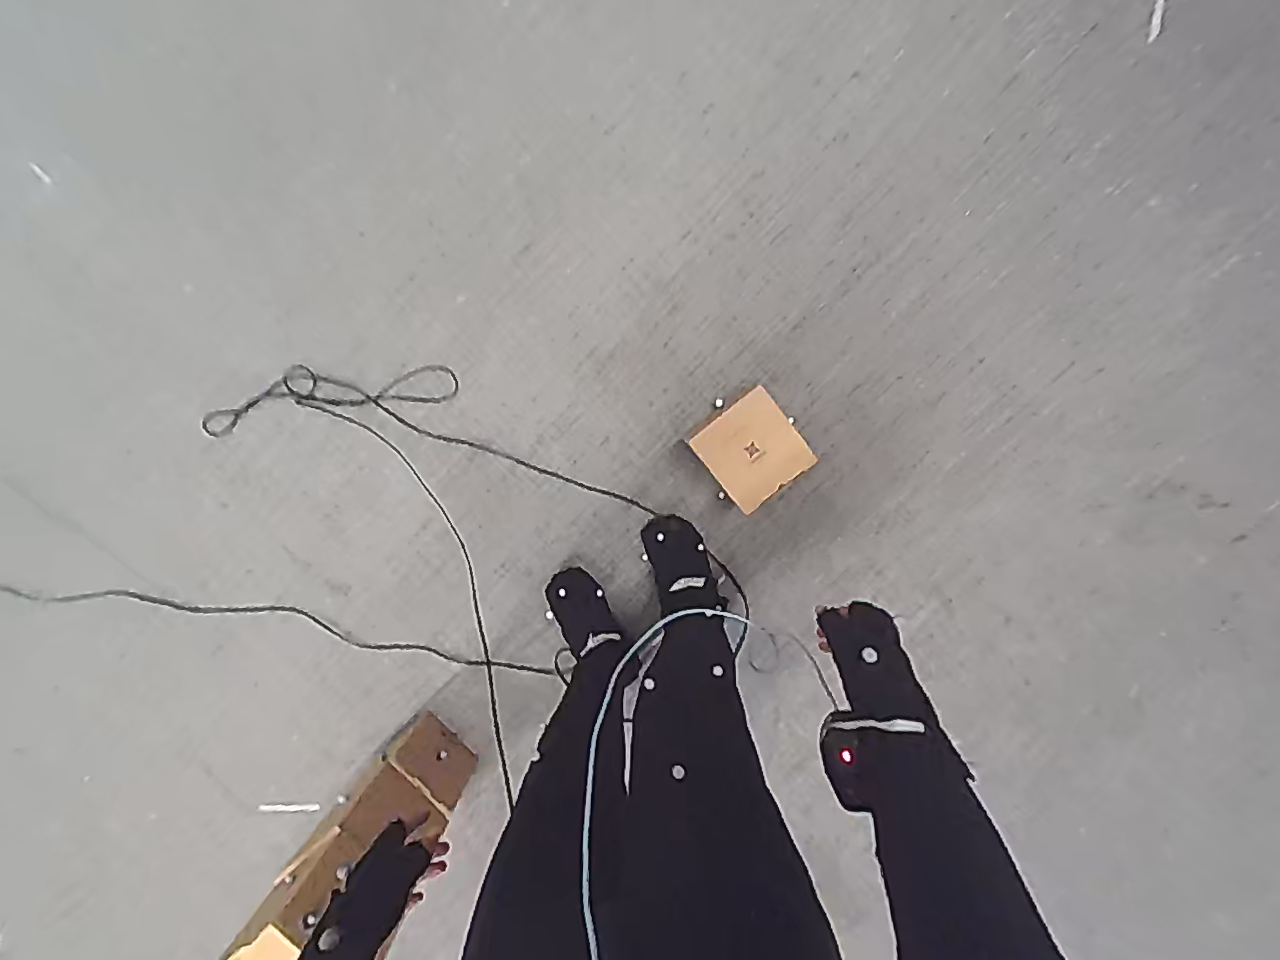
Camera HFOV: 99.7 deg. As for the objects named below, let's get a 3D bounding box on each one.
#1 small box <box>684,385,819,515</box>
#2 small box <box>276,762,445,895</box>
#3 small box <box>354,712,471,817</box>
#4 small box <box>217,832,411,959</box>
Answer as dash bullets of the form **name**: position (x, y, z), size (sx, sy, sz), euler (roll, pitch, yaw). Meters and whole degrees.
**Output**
- **small box**: position (0.201, -0.064, 1.019), size (0.168, 0.176, 0.179), euler (-38, 96, 6)
- **small box**: position (-0.493, 0.664, 0.984), size (0.168, 0.176, 0.179), euler (-41, 95, 7)
- **small box**: position (-0.484, 0.635, 1.146), size (0.179, 0.176, 0.168), euler (-42, 95, 7)
- **small box**: position (-0.491, 0.695, 0.824), size (0.168, 0.176, 0.179), euler (-42, 95, 7)
